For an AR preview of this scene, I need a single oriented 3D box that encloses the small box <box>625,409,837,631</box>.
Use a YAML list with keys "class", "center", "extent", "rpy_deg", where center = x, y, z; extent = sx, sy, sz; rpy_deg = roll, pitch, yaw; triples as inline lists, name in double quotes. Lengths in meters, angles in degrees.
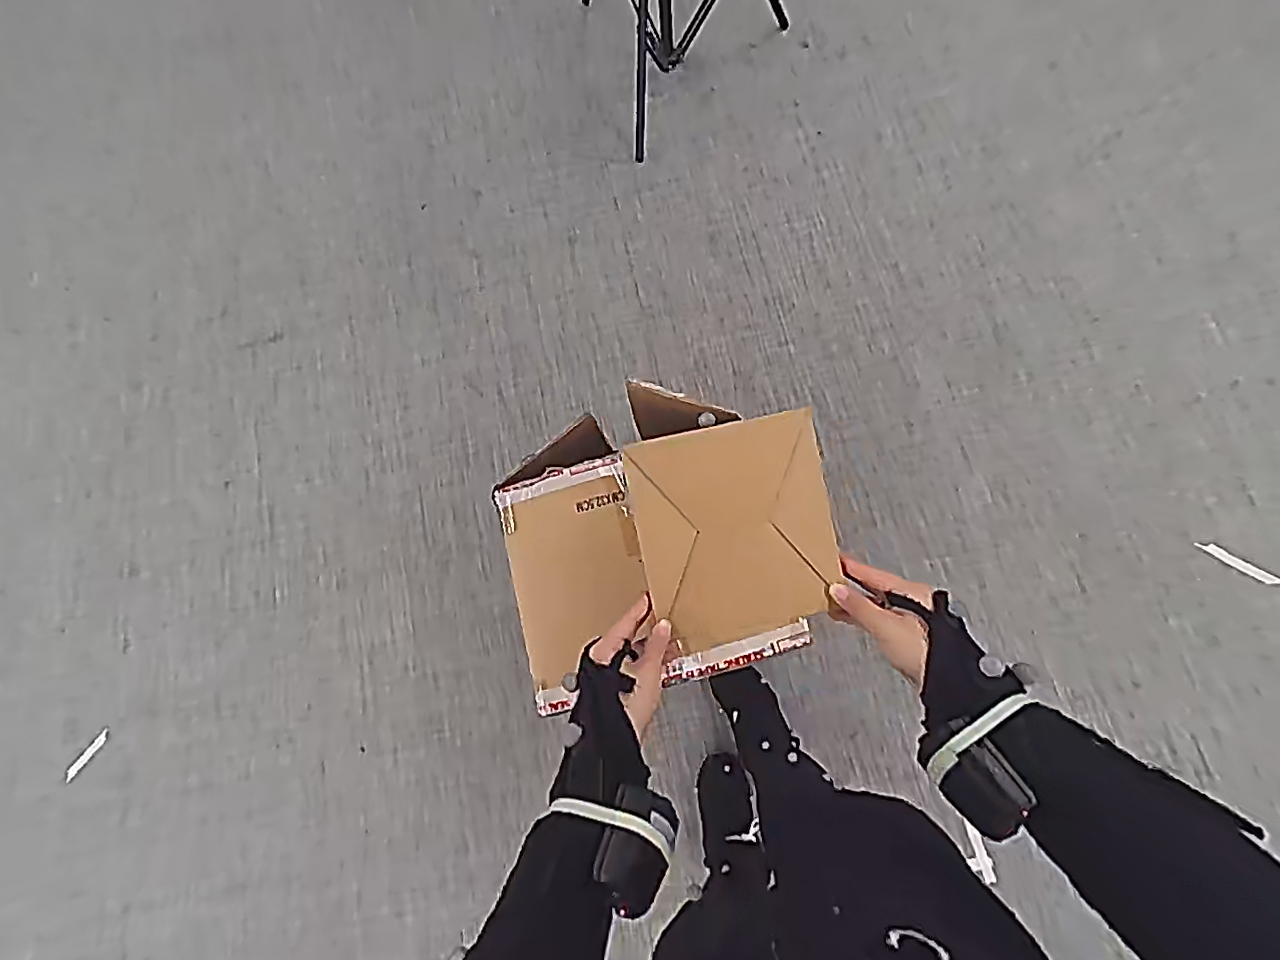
- class: "small box"
  center: [0.084, 0.035, 0.544]
  extent: [0.168, 0.176, 0.179]
  rpy_deg: [-12, 91, 4]
